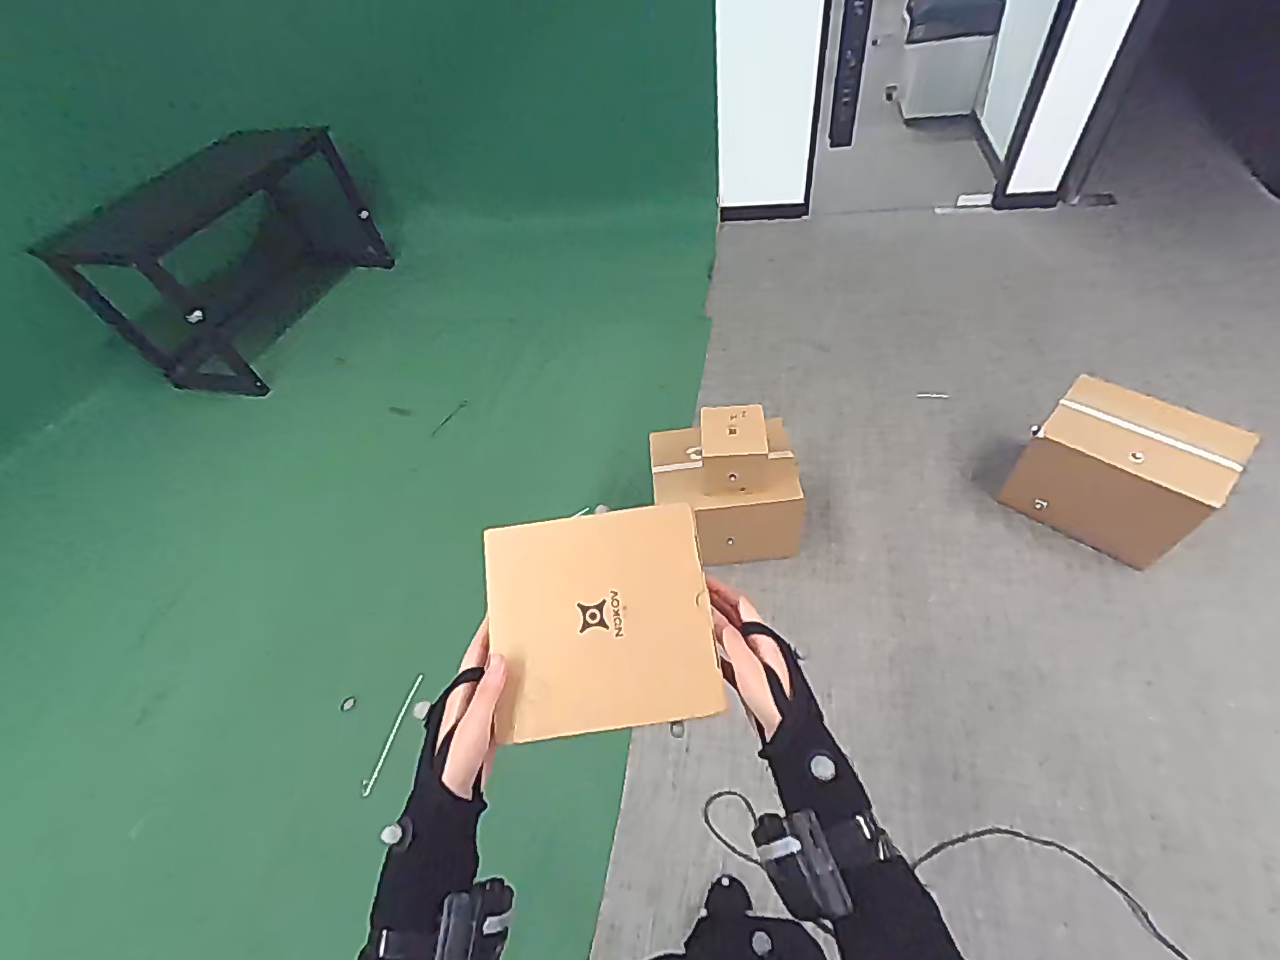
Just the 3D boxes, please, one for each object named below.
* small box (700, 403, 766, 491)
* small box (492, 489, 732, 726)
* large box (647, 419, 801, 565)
[{"bbox_3d":[0.245,-0.083,1.449,0.168,0.176,0.179,-1,51,6],"label":"small box"},{"bbox_3d":[-0.023,0.120,0.495,0.179,0.176,0.168,-8,72,-1],"label":"small box"},{"bbox_3d":[0.248,0.050,1.661,0.408,0.320,0.320,-7,49,5],"label":"large box"}]
